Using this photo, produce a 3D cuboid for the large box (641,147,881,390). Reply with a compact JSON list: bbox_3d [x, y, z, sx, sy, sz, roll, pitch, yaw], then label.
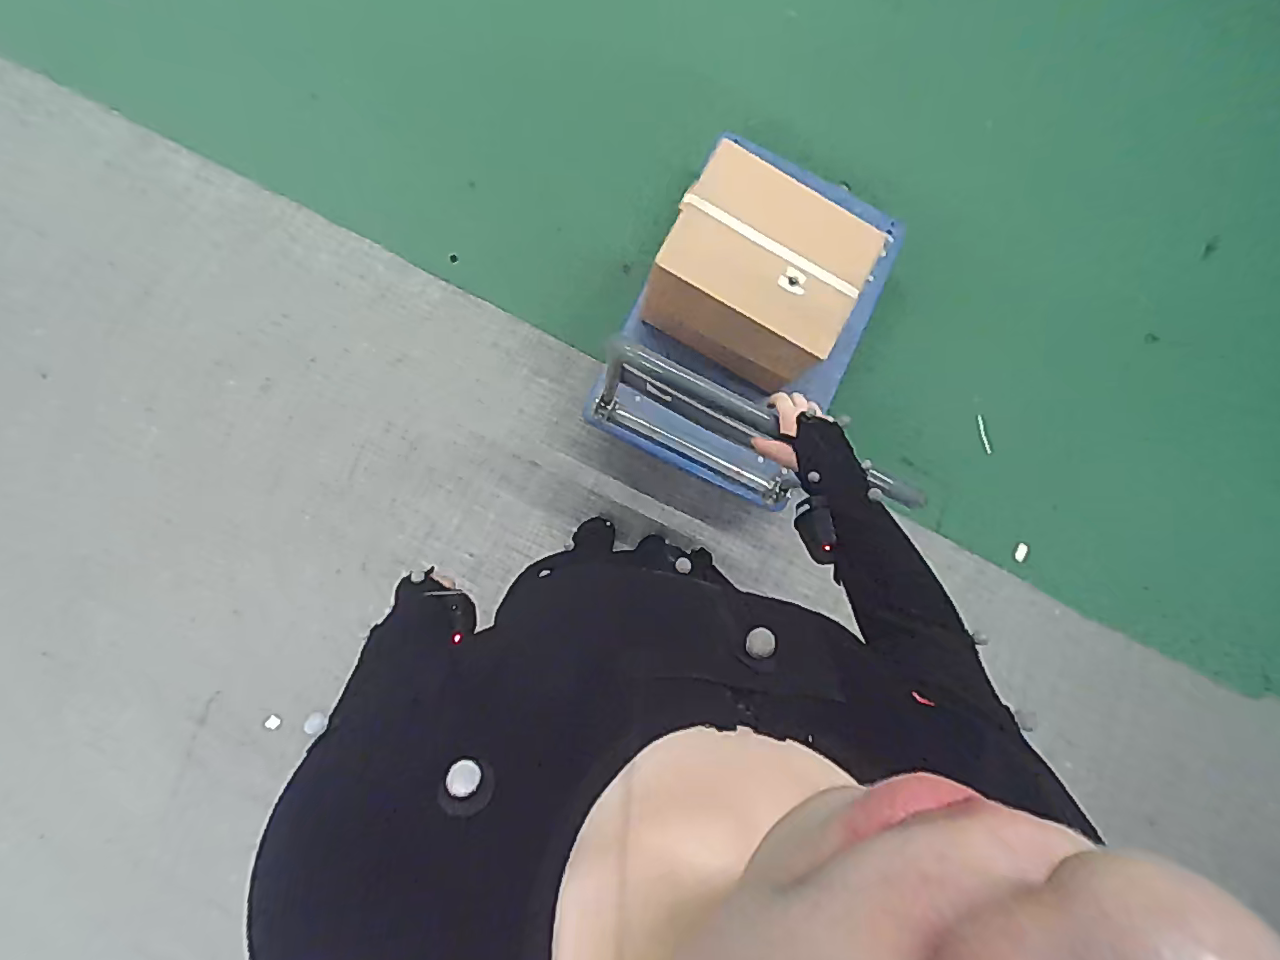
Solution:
[{"bbox_3d":[0.258,-0.468,1.275,0.408,0.320,0.320,29,84,-4],"label":"large box"}]
